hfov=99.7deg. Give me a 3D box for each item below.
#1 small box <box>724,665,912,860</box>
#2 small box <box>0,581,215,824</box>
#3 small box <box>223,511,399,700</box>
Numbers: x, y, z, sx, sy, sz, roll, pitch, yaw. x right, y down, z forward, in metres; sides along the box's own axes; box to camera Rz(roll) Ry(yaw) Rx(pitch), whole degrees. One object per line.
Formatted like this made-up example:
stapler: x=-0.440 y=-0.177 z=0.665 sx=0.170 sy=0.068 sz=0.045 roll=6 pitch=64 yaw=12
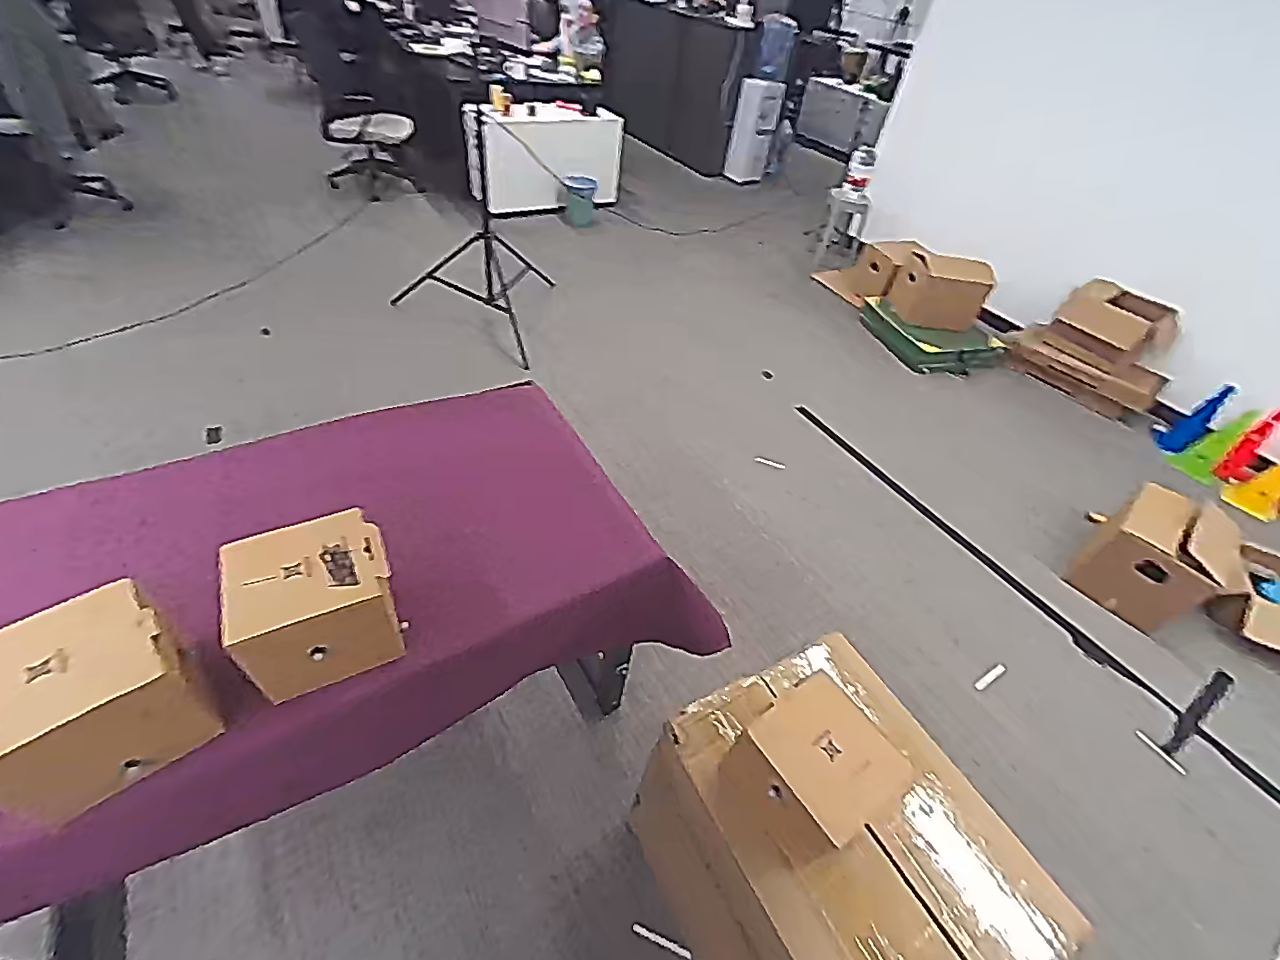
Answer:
small box: x=0.249 y=0.417 z=0.799 sx=0.168 sy=0.176 sz=0.179 roll=-25 pitch=55 yaw=-27
small box: x=-0.651 y=0.263 z=0.649 sx=0.179 sy=0.176 sz=0.168 roll=-29 pitch=55 yaw=-34
small box: x=-0.456 y=0.177 z=0.769 sx=0.179 sy=0.176 sz=0.168 roll=-17 pitch=49 yaw=-24
